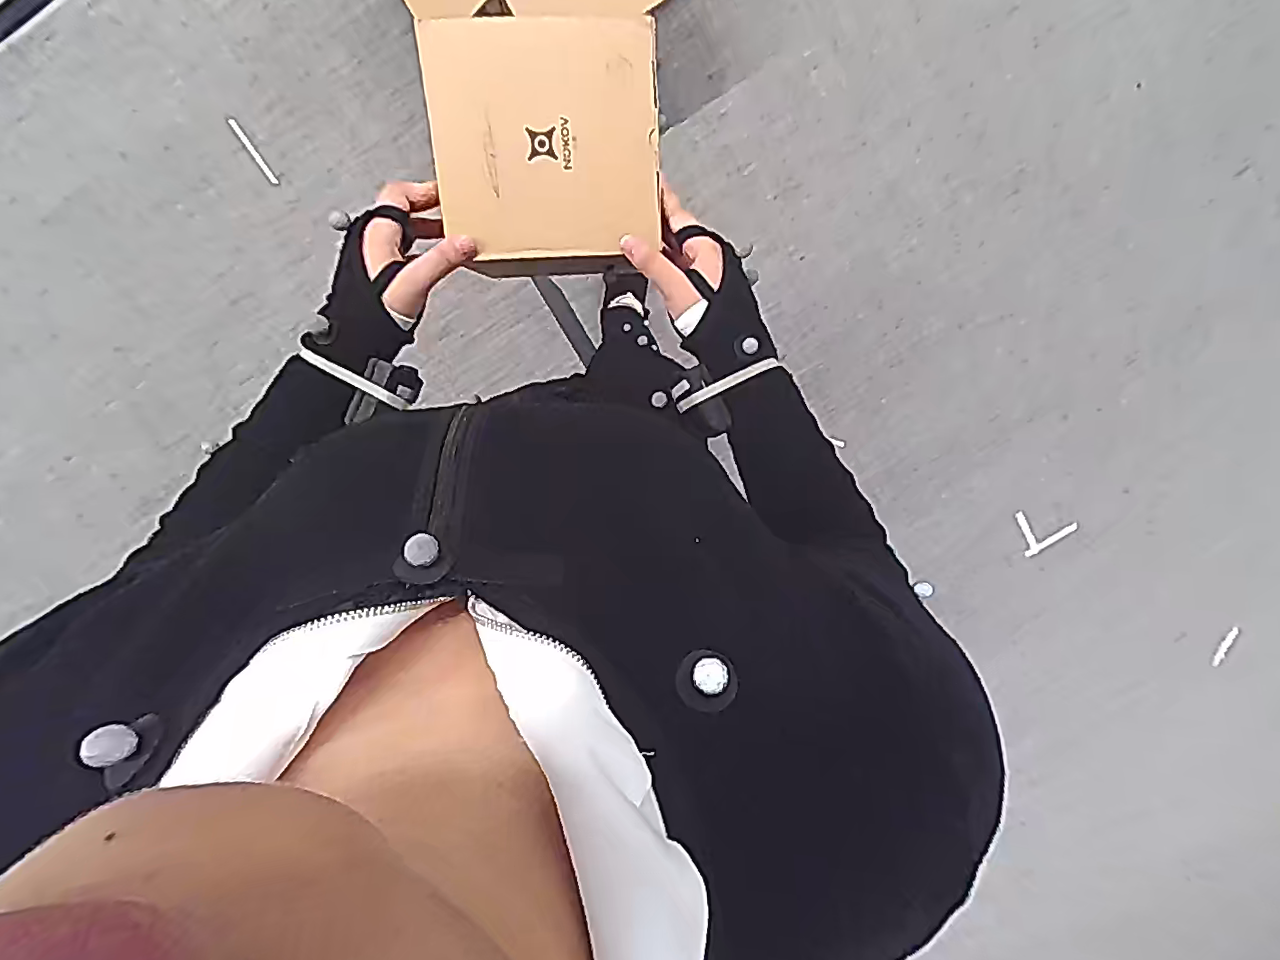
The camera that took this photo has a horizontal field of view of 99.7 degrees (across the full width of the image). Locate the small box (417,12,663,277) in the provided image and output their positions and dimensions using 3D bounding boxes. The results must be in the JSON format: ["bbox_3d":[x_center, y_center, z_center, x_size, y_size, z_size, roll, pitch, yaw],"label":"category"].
[{"bbox_3d":[-0.077,-0.283,0.494,0.179,0.176,0.168,-4,105,-2],"label":"small box"}]
